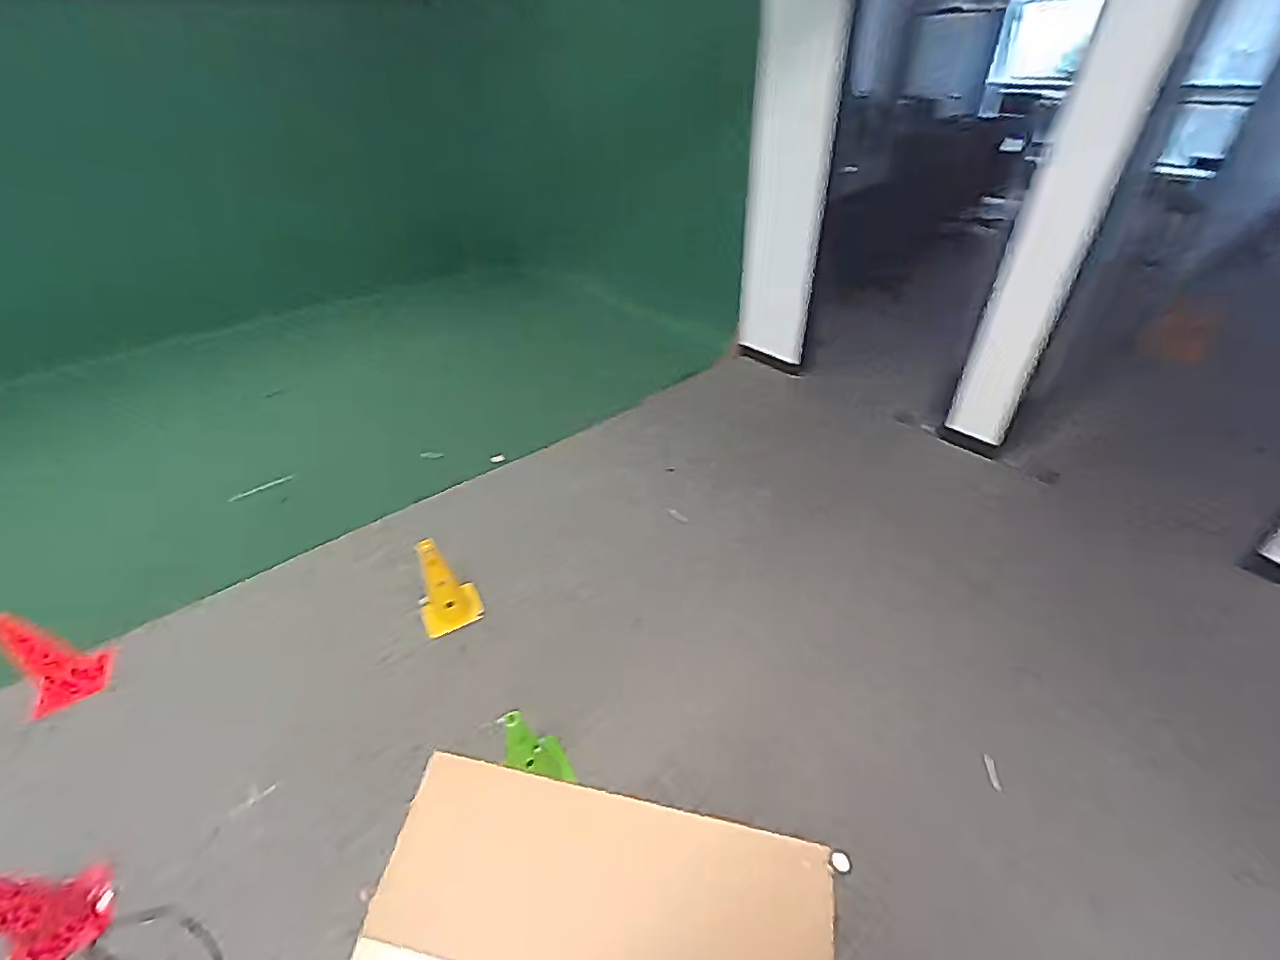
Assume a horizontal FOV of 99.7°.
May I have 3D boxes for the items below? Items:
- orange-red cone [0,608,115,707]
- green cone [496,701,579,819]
[{"bbox_3d":[-1.995,0.553,1.797,0.199,0.360,0.198,-23,42,-21],"label":"orange-red cone"},{"bbox_3d":[-0.310,0.721,1.480,0.200,0.368,0.202,-23,42,-23],"label":"green cone"}]
